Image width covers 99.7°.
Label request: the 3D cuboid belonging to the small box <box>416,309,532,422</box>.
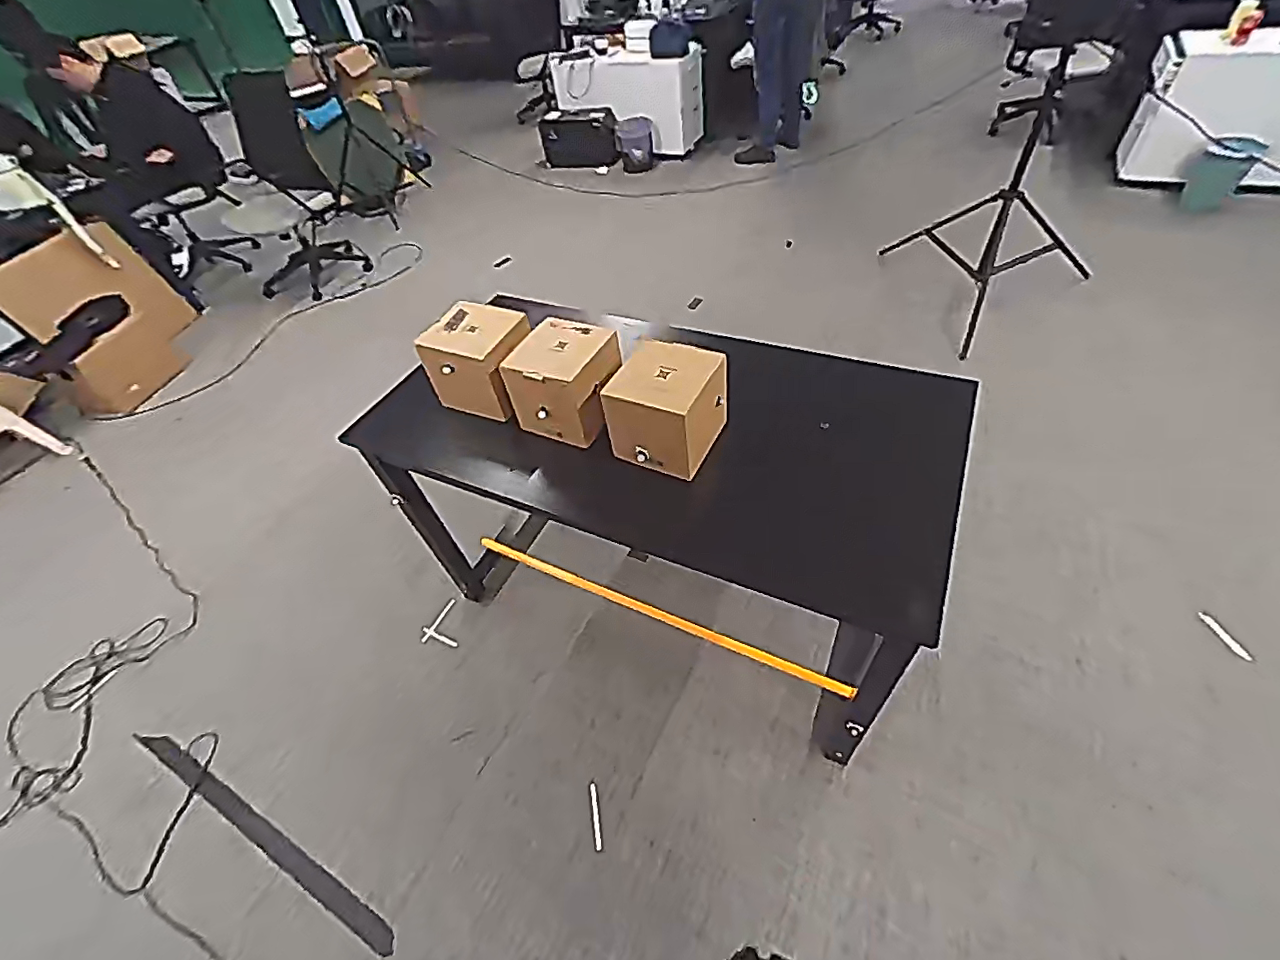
[{"bbox_3d":[-0.340,-0.247,1.178,0.179,0.176,0.168,16,53,19],"label":"small box"}]

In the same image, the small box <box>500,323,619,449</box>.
[{"bbox_3d":[-0.148,-0.189,1.100,0.168,0.176,0.179,17,54,22],"label":"small box"}]

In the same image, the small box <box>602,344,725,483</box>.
[{"bbox_3d":[0.051,-0.125,1.016,0.168,0.176,0.179,17,54,23],"label":"small box"}]
